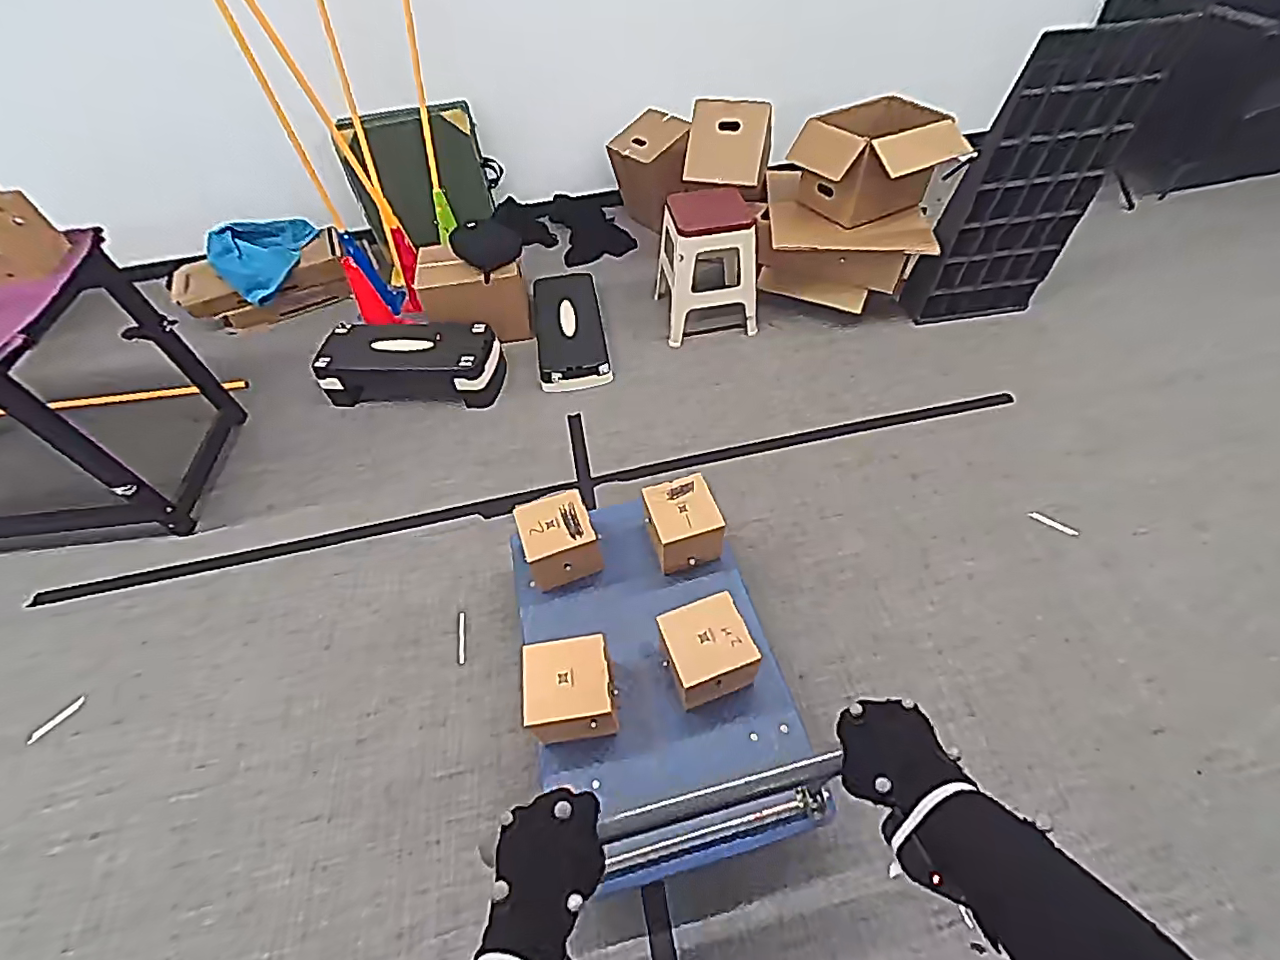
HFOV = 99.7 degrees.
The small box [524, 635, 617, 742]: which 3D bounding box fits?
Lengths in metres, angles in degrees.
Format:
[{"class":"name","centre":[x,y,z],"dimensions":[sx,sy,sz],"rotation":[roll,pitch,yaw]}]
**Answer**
[{"class":"small box","centre":[-0.150,0.460,1.182],"dimensions":[0.179,0.176,0.168],"rotation":[-8,53,-4]}]

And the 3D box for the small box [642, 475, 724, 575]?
[{"class":"small box","centre":[0.108,0.120,1.423],"dimensions":[0.168,0.176,0.179],"rotation":[-16,54,-8]}]

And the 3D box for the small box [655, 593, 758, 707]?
[{"class":"small box","centre":[0.146,0.386,1.216],"dimensions":[0.179,0.176,0.168],"rotation":[-18,54,-9]}]
